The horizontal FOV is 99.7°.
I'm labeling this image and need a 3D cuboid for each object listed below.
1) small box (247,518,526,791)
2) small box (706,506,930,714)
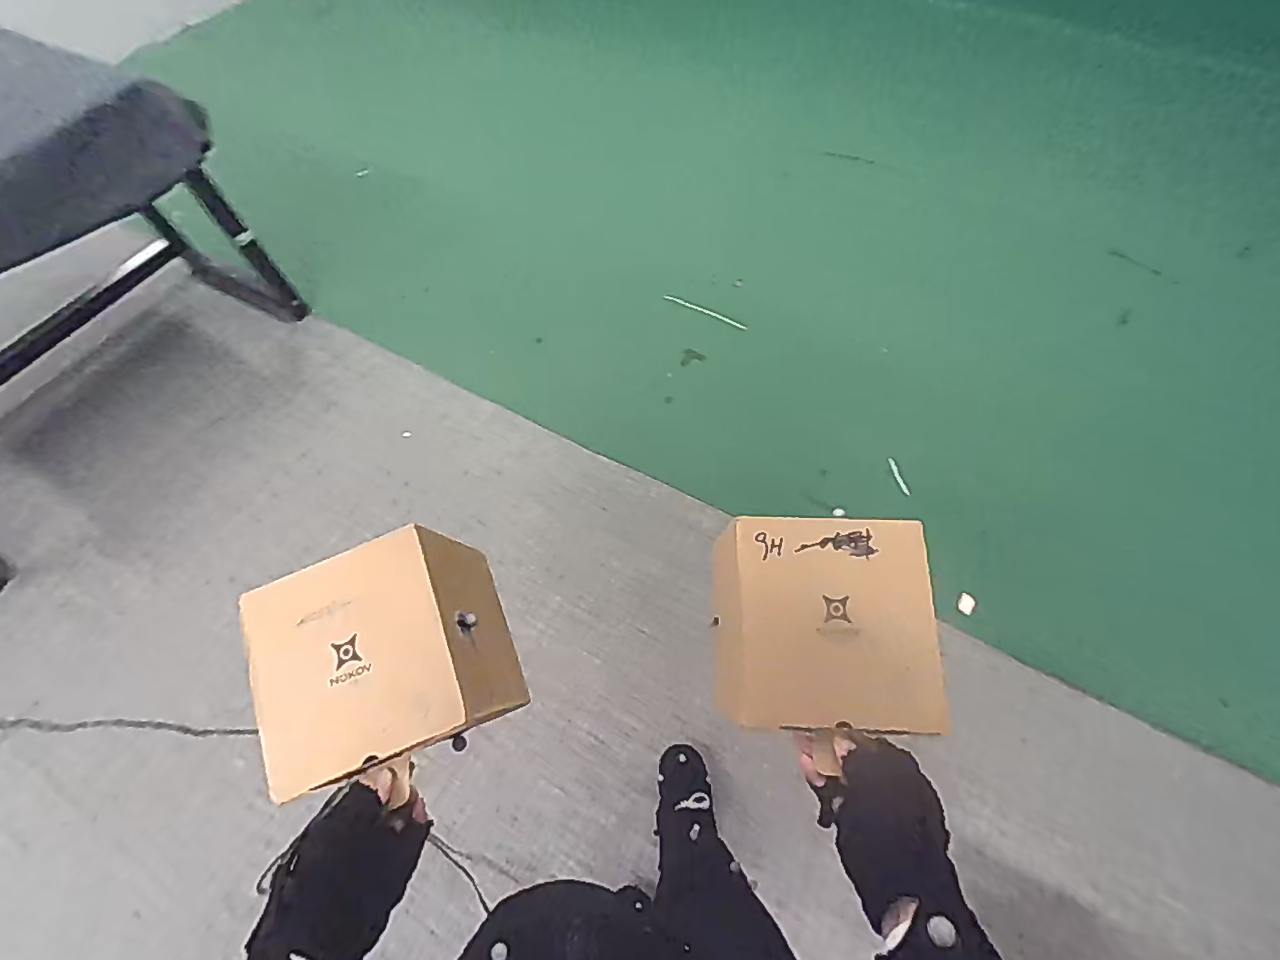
[{"bbox_3d":[-0.230,0.161,0.527,0.168,0.176,0.179,-24,72,-2],"label":"small box"},{"bbox_3d":[0.159,0.127,0.543,0.168,0.176,0.179,0,75,-1],"label":"small box"}]
